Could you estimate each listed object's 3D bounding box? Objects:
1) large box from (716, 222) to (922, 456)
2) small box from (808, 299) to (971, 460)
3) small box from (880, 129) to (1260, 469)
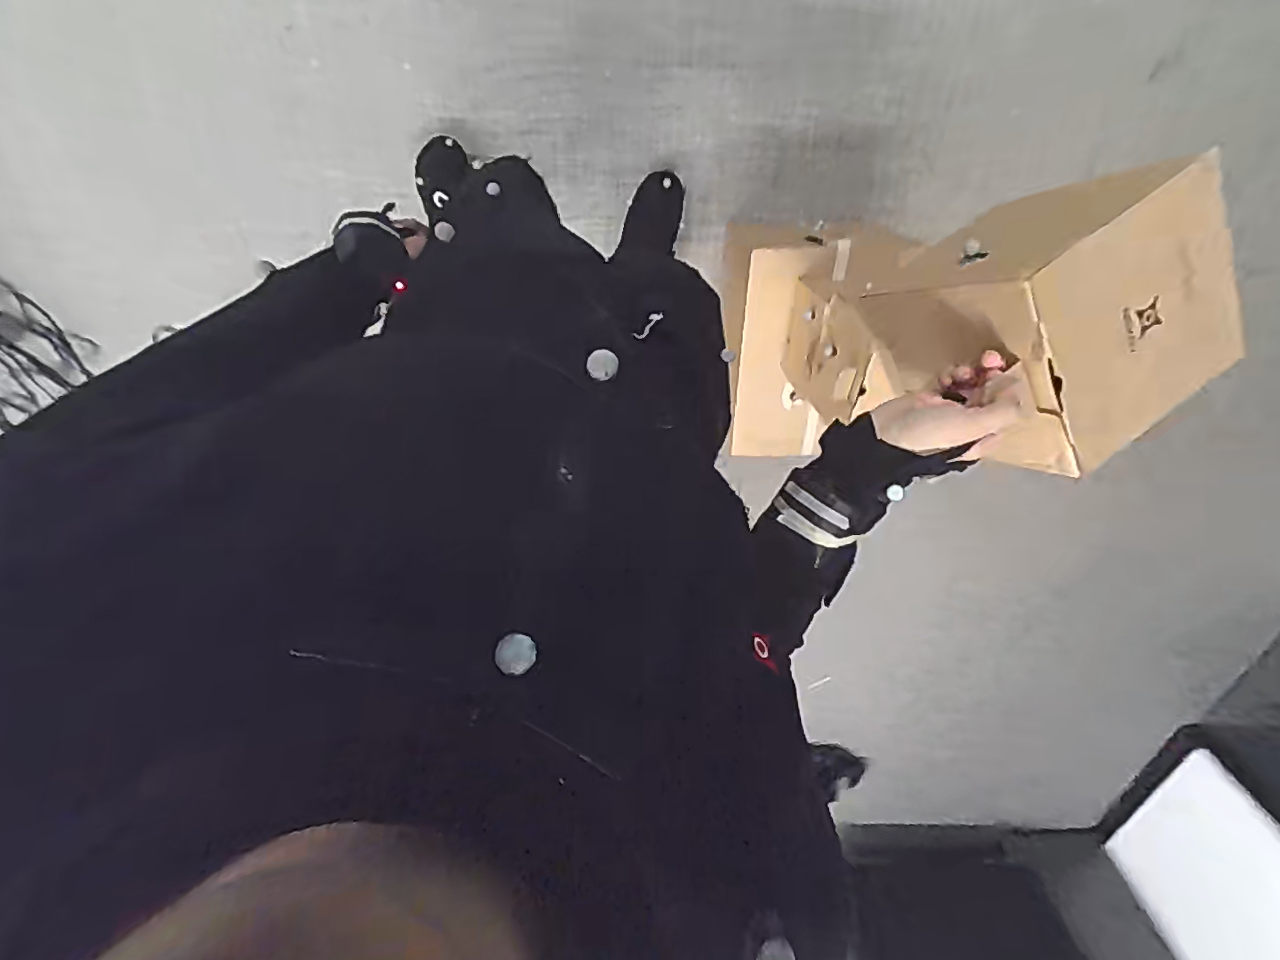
[{"bbox_3d":[0.342,-0.301,1.137,0.320,0.320,0.408,0,124,0],"label":"large box"},{"bbox_3d":[0.359,-0.145,0.754,0.179,0.176,0.168,5,123,-3],"label":"small box"},{"bbox_3d":[0.330,-0.136,0.446,0.179,0.176,0.168,-35,111,-4],"label":"small box"}]
